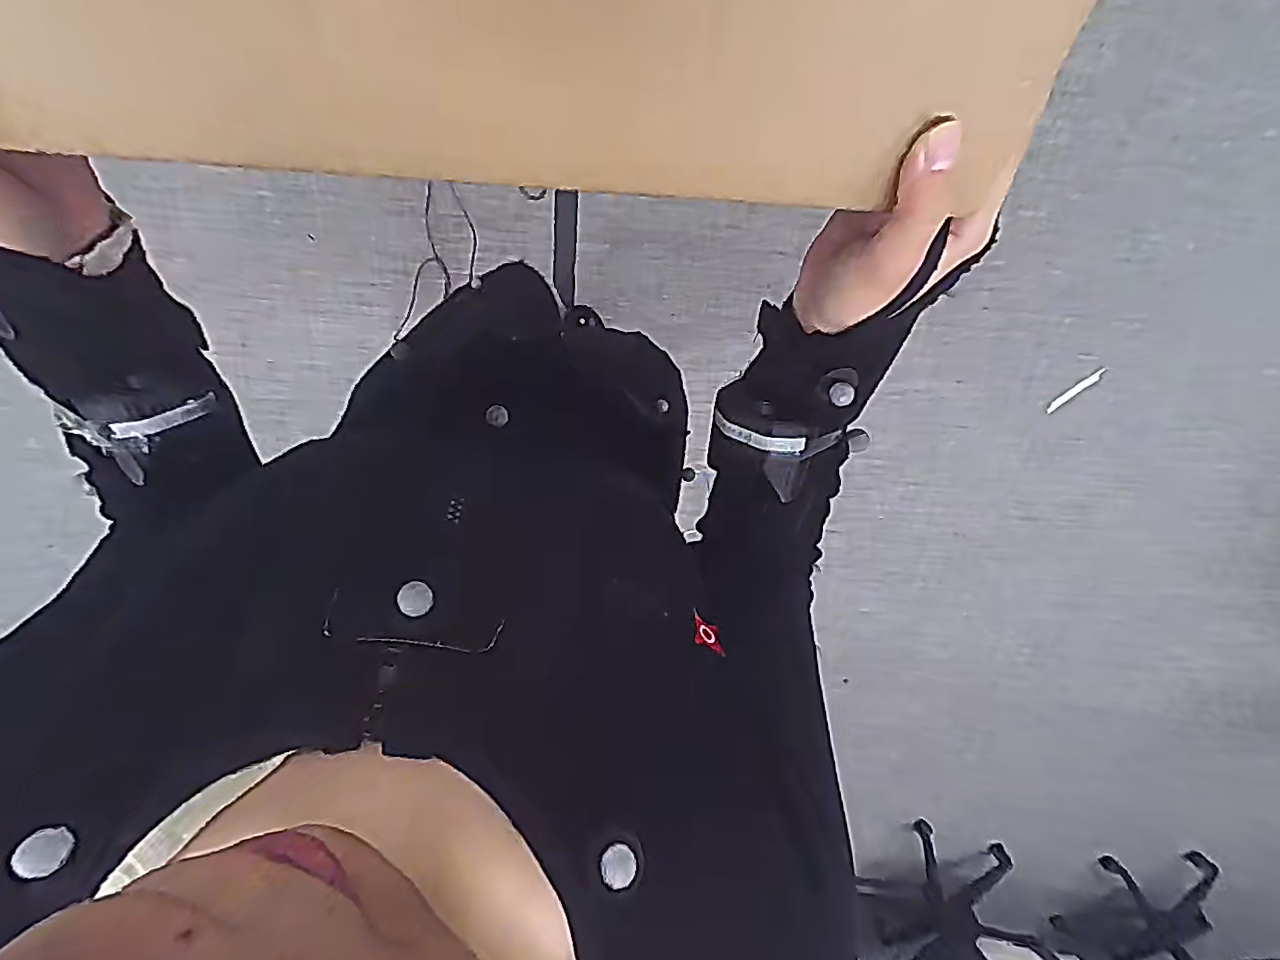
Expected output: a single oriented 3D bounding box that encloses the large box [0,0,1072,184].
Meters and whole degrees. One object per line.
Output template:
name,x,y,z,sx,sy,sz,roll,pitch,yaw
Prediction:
large box,-0.056,-0.334,0.185,0.408,0.320,0.320,1,142,-4
